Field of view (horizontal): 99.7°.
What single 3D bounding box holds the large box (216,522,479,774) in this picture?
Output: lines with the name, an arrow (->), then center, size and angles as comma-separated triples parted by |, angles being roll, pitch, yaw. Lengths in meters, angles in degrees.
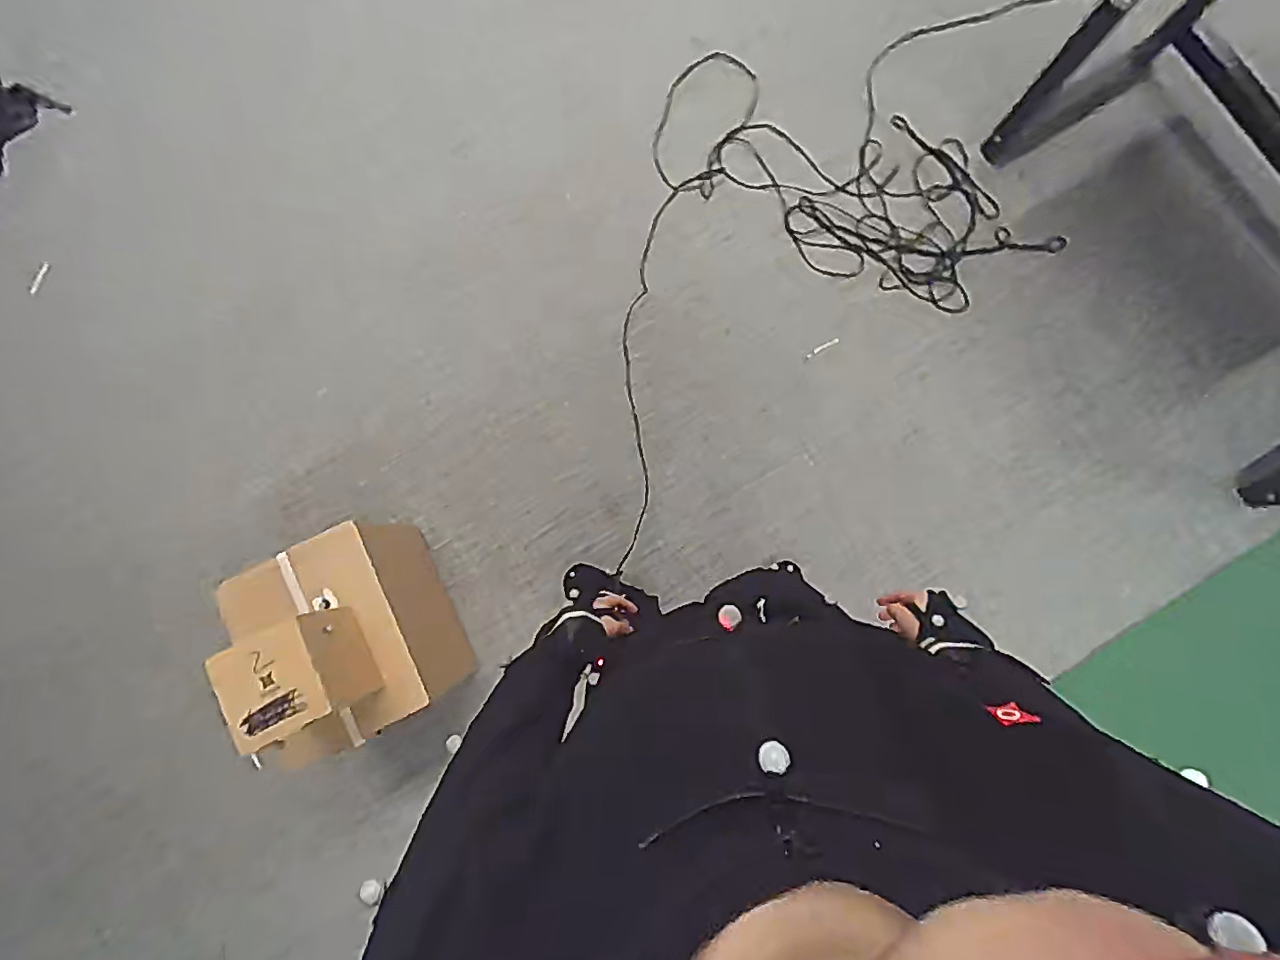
large box -> -0.622, 0.345, 1.211 | 0.320, 0.320, 0.408 | -27, 82, -3
